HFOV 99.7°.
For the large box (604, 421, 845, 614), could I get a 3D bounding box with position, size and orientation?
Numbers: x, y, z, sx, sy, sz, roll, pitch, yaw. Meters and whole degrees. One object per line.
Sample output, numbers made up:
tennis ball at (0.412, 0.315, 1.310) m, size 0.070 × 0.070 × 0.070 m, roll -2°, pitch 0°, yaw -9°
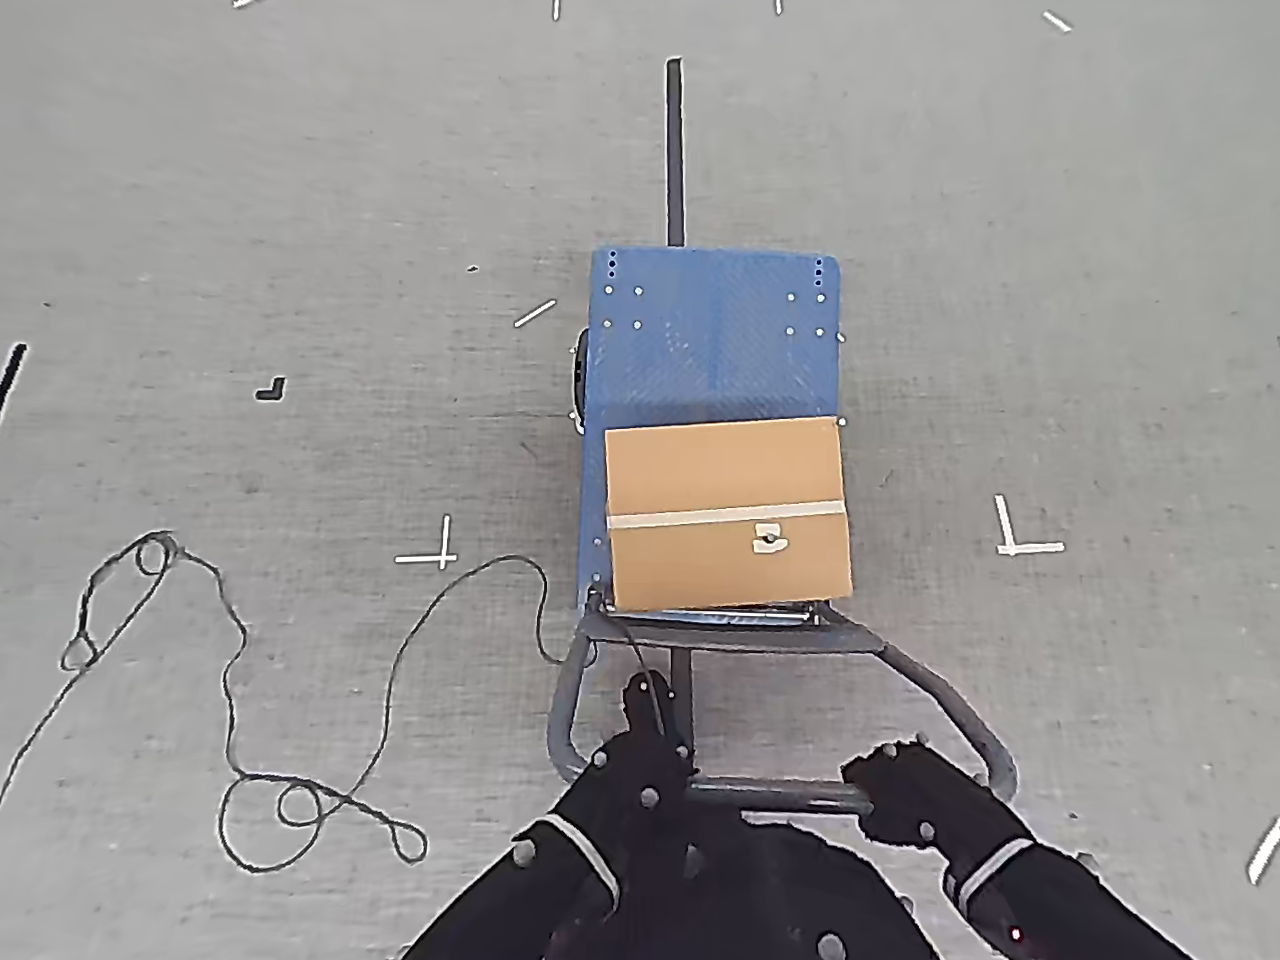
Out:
large box at (0.143, 0.072, 1.092) m, size 0.408 × 0.320 × 0.320 m, roll -4°, pitch 88°, yaw -2°
